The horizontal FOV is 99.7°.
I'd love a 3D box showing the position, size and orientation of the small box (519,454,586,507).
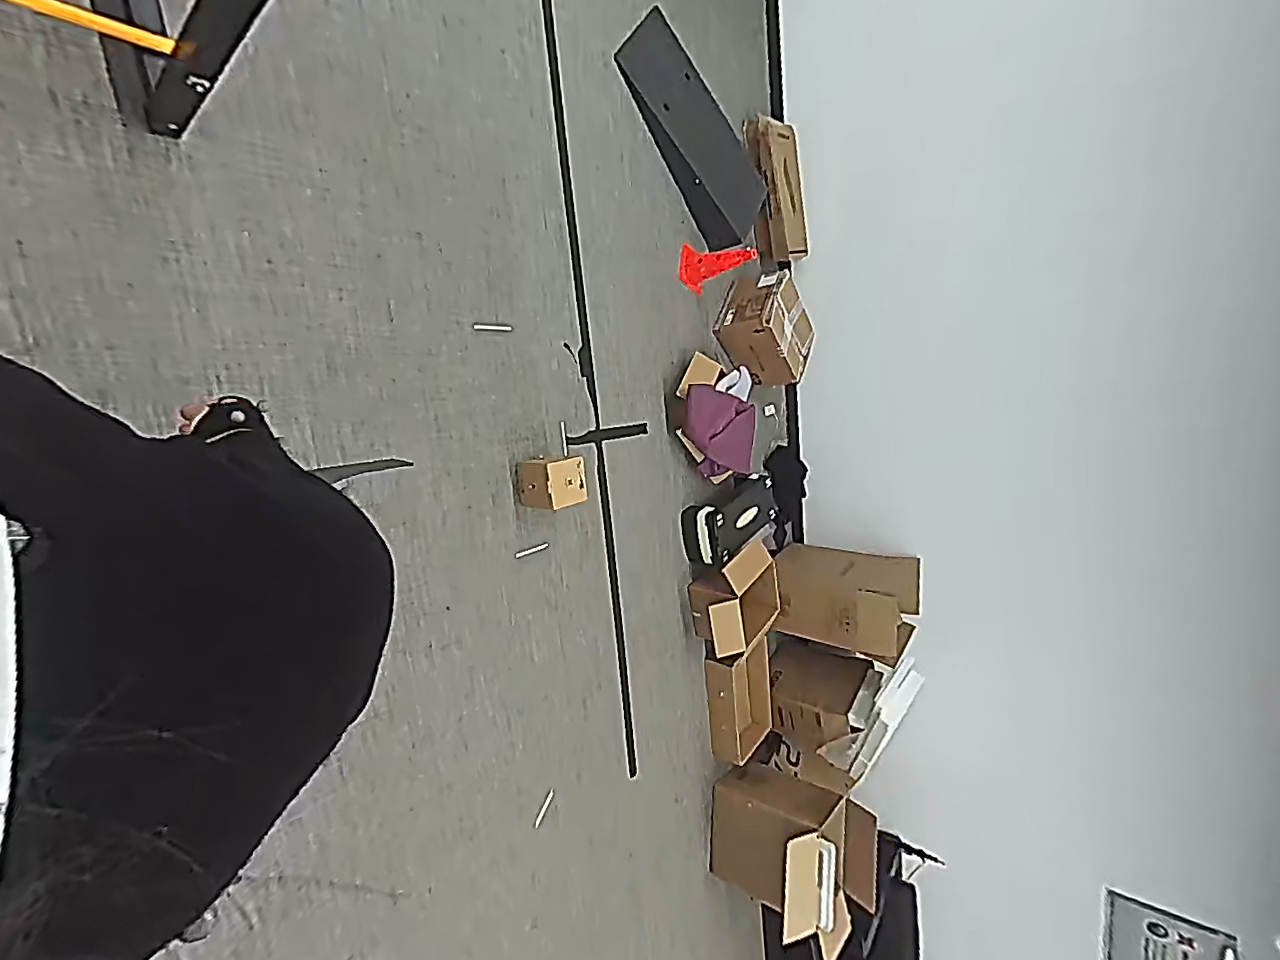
[{"bbox_3d":[-0.321,0.000,1.948,0.179,0.176,0.168,-16,104,-49],"label":"small box"}]
